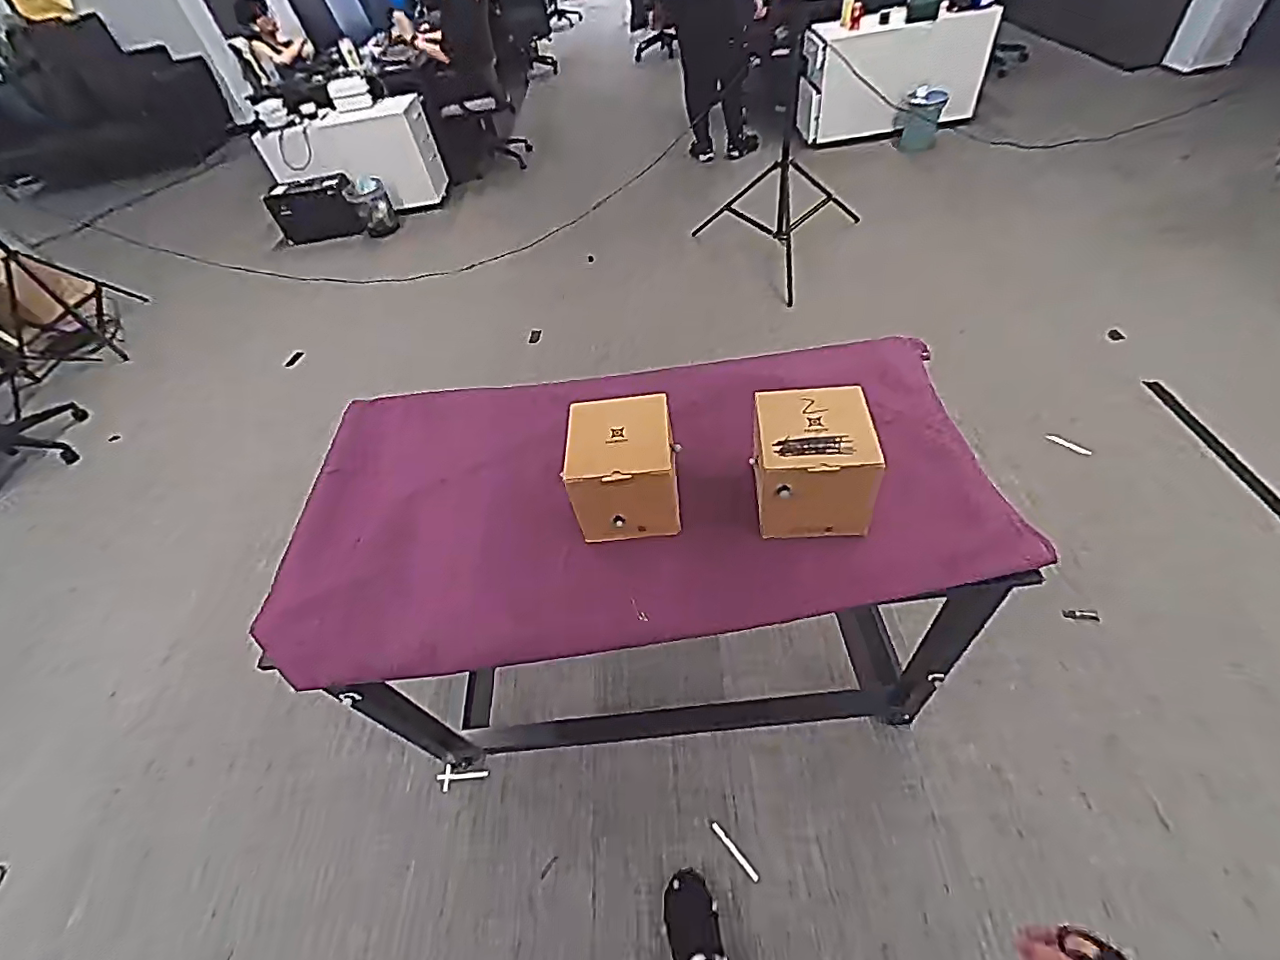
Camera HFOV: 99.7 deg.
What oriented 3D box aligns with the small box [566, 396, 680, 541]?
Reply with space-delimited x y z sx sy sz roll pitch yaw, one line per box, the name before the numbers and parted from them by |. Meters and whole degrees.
small box | -0.023 -0.017 0.919 0.168 0.176 0.179 -6 49 5
